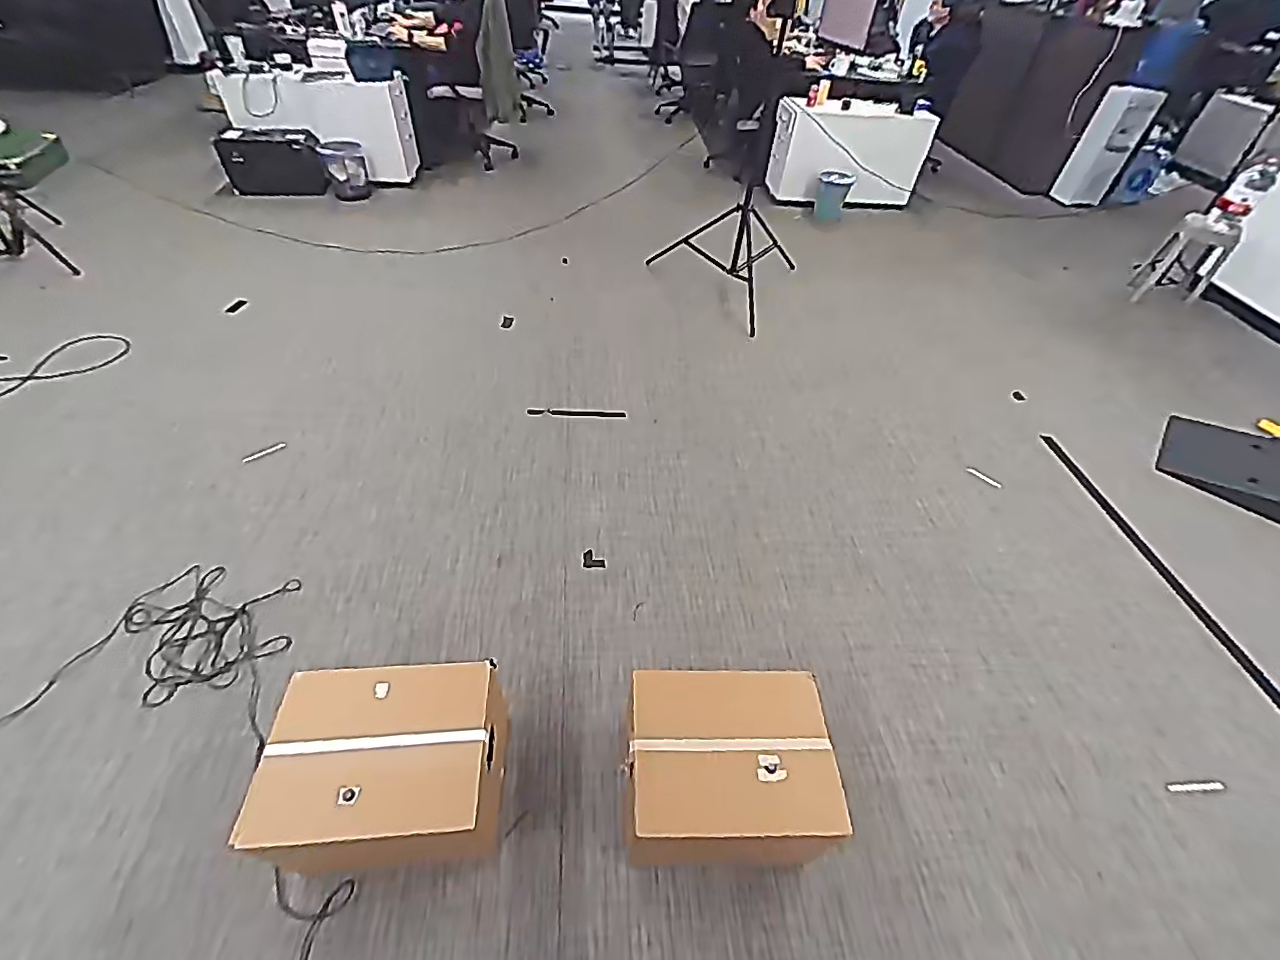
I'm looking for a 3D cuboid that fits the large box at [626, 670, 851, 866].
[{"bbox_3d":[0.181,0.638,1.200,0.408,0.320,0.320,2,46,-4],"label":"large box"}]
